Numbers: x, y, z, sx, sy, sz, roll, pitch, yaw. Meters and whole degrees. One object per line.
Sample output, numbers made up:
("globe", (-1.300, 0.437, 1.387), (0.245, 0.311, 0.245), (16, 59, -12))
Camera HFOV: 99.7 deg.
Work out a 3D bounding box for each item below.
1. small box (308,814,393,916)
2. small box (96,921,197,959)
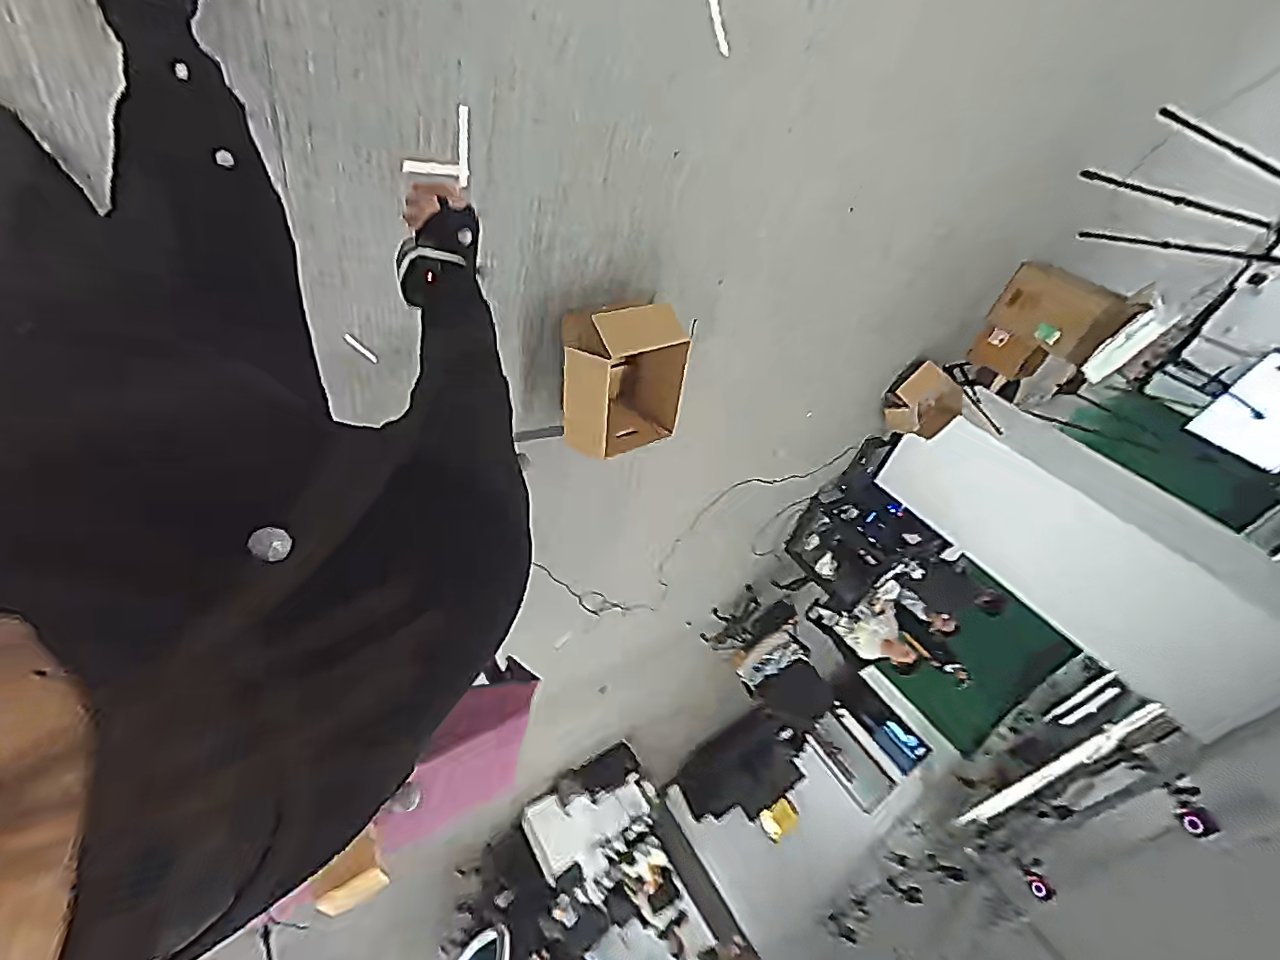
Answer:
("small box", (-0.852, 1.125, 1.590), (0.168, 0.176, 0.179), (-21, 142, -28))
("small box", (-1.225, 1.240, 1.335), (0.168, 0.176, 0.179), (-19, 141, -31))
